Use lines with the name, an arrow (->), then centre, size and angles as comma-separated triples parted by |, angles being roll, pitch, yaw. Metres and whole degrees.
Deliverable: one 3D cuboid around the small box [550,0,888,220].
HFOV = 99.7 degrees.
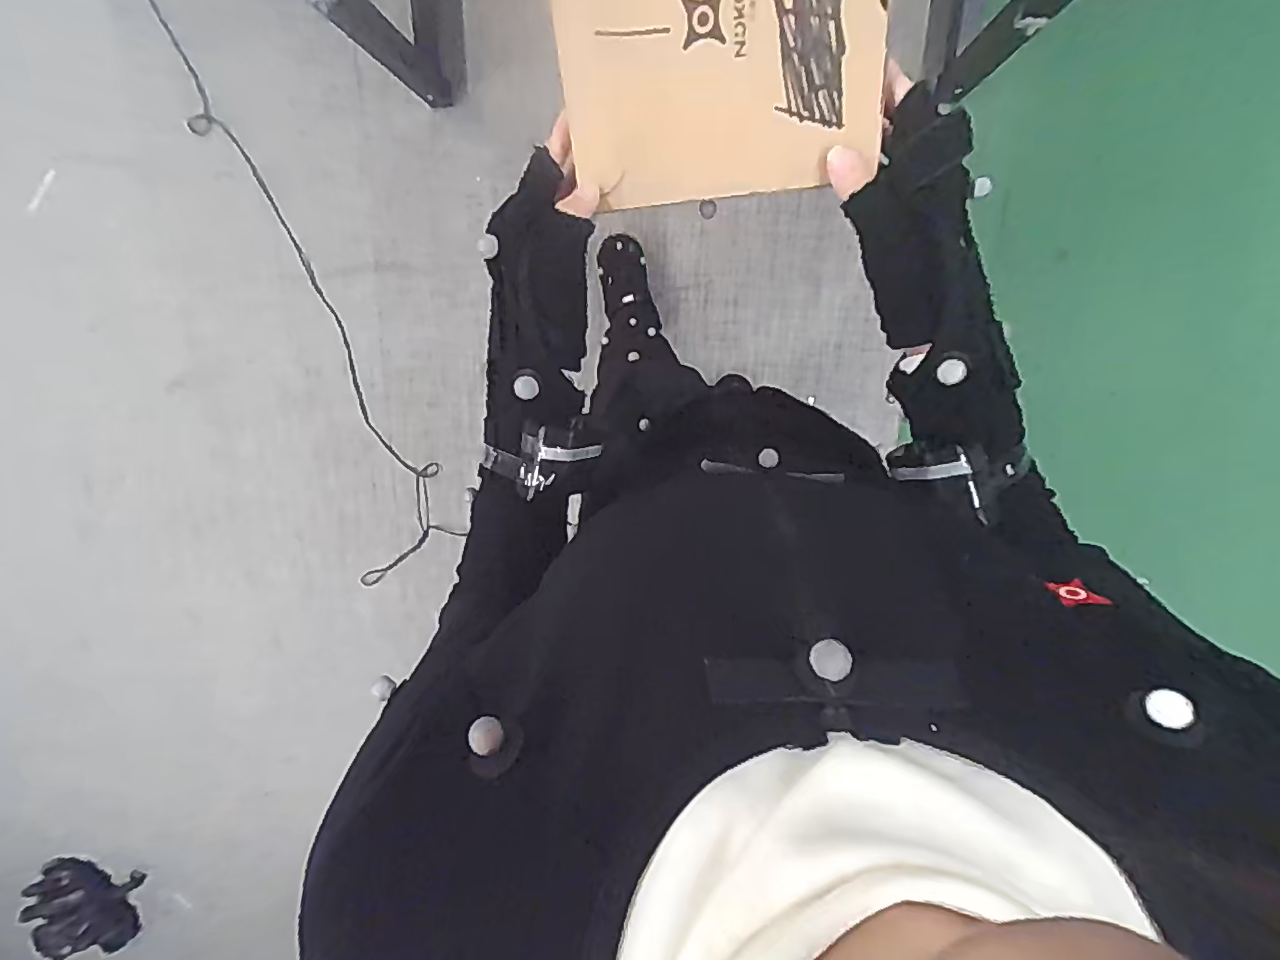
small box -> 0.046, -0.276, 0.354 | 0.179, 0.176, 0.168 | -3, 121, 7
